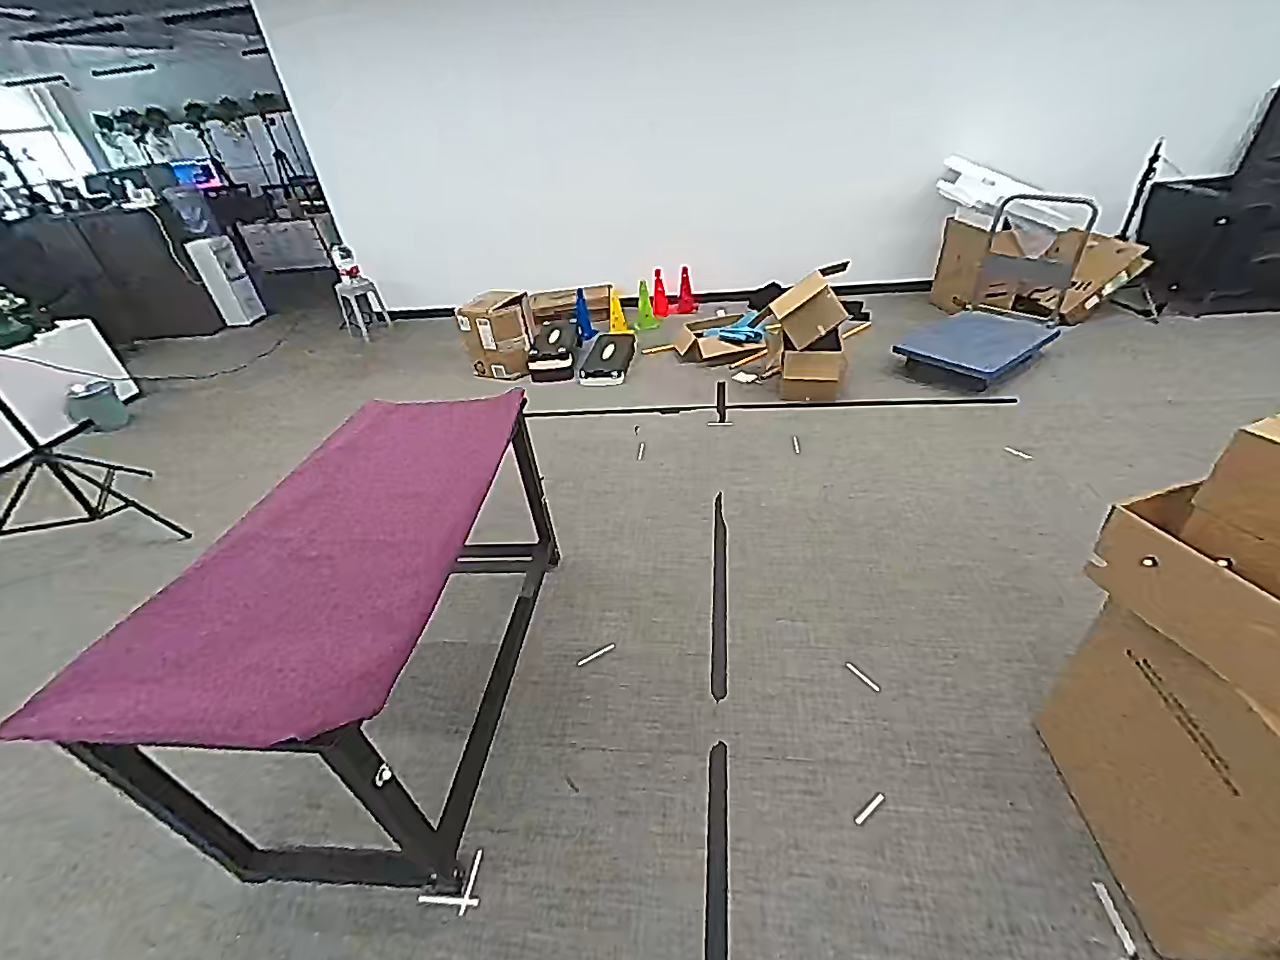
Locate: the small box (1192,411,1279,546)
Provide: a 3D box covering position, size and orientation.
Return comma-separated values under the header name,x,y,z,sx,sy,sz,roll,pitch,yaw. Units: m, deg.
name,x,y,z,sx,sy,sz,roll,pitch,yaw
small box,1.128,0.000,0.922,0.168,0.176,0.179,-16,36,-12
